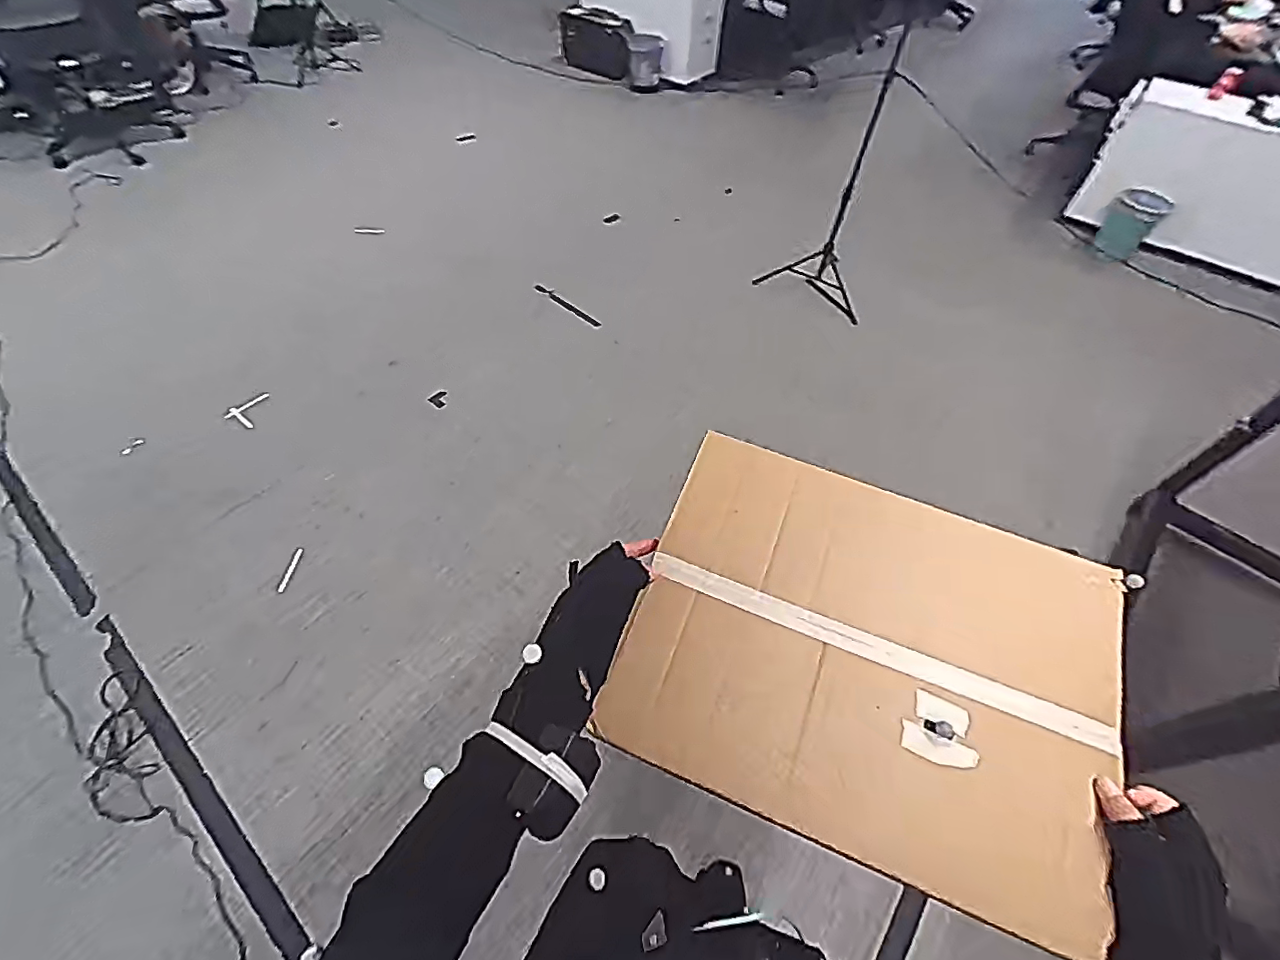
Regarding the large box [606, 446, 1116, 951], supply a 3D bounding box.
[{"bbox_3d":[0.207,0.217,0.617,0.408,0.320,0.320,21,67,10],"label":"large box"}]
